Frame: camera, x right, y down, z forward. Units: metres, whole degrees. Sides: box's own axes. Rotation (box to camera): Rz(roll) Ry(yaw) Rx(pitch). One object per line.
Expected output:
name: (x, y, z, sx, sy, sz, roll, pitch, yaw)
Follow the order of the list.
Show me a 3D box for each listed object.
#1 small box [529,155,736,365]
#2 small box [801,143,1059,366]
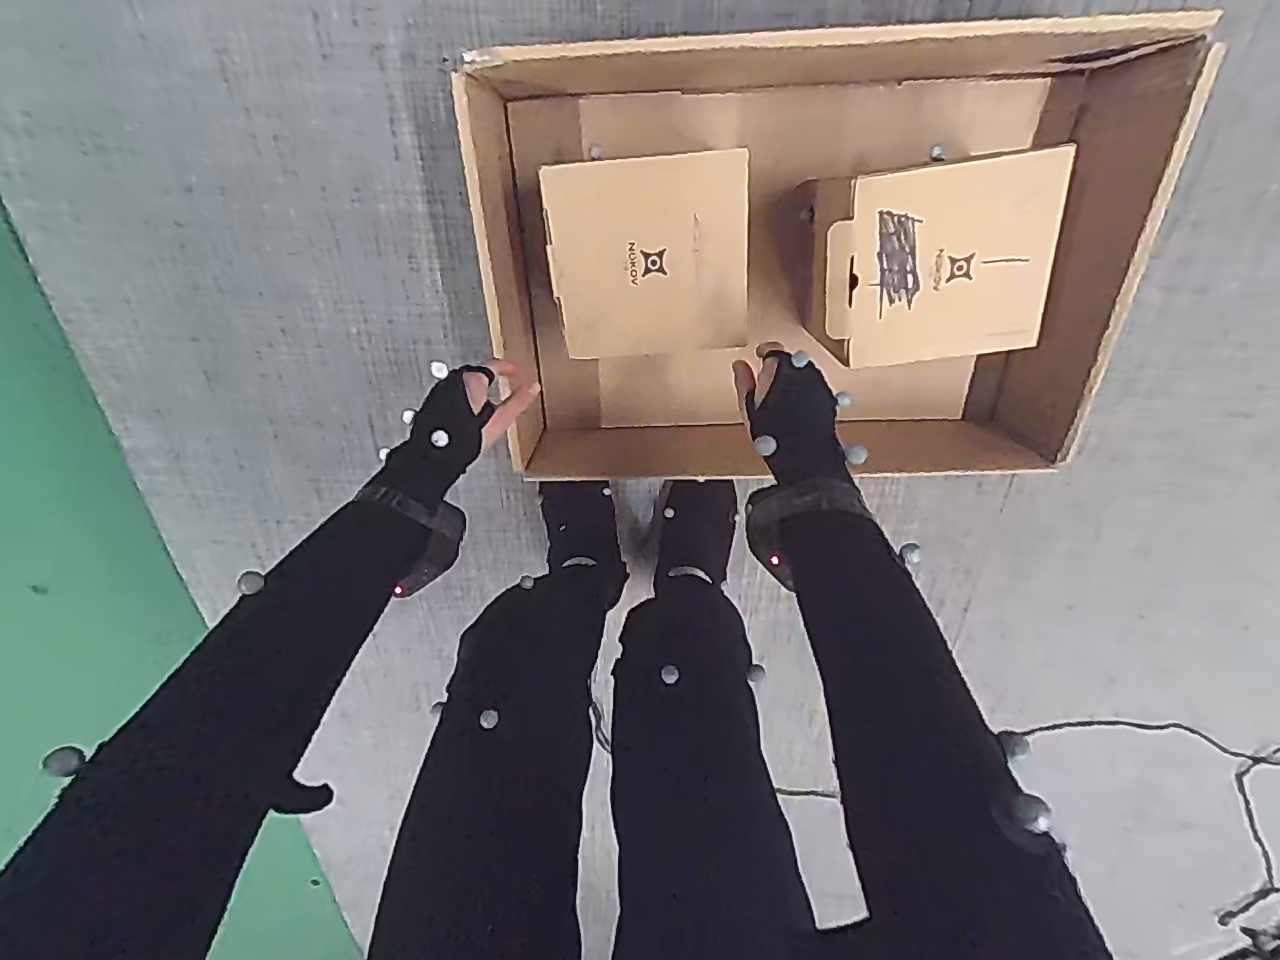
small box: (0.000, -0.226, 0.554, 0.179, 0.176, 0.168, -5, 119, 3)
small box: (0.266, -0.226, 0.547, 0.179, 0.176, 0.168, -7, 118, 6)
